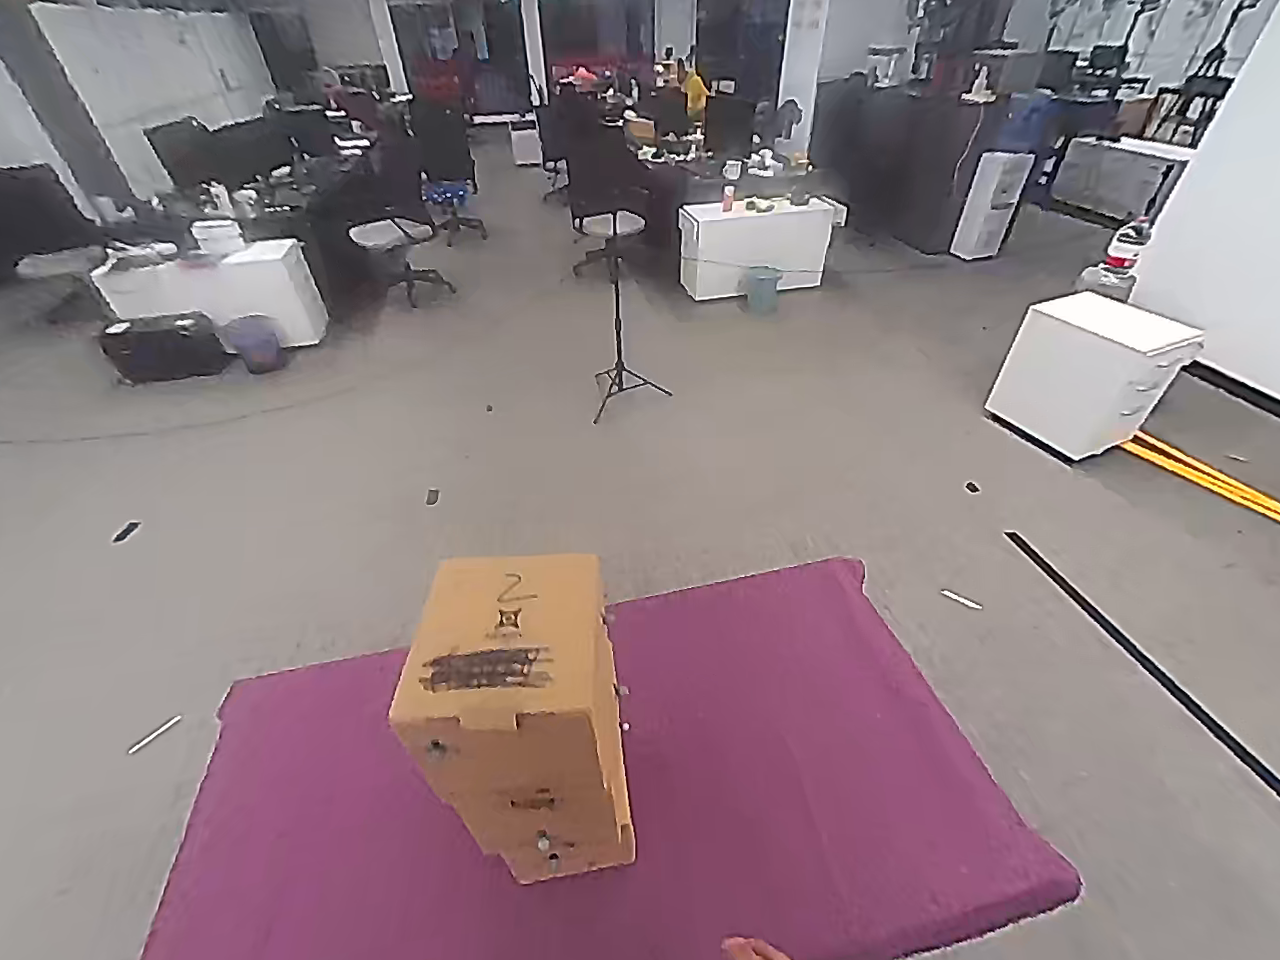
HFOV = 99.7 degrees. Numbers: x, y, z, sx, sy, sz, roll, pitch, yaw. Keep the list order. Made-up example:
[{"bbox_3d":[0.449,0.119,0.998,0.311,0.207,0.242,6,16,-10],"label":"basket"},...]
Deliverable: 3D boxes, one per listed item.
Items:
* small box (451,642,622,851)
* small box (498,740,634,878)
[{"bbox_3d":[-0.109,0.319,0.653,0.168,0.176,0.179,-2,40,0],"label":"small box"},{"bbox_3d":[-0.102,0.437,0.769,0.168,0.176,0.179,-7,40,-6],"label":"small box"}]
